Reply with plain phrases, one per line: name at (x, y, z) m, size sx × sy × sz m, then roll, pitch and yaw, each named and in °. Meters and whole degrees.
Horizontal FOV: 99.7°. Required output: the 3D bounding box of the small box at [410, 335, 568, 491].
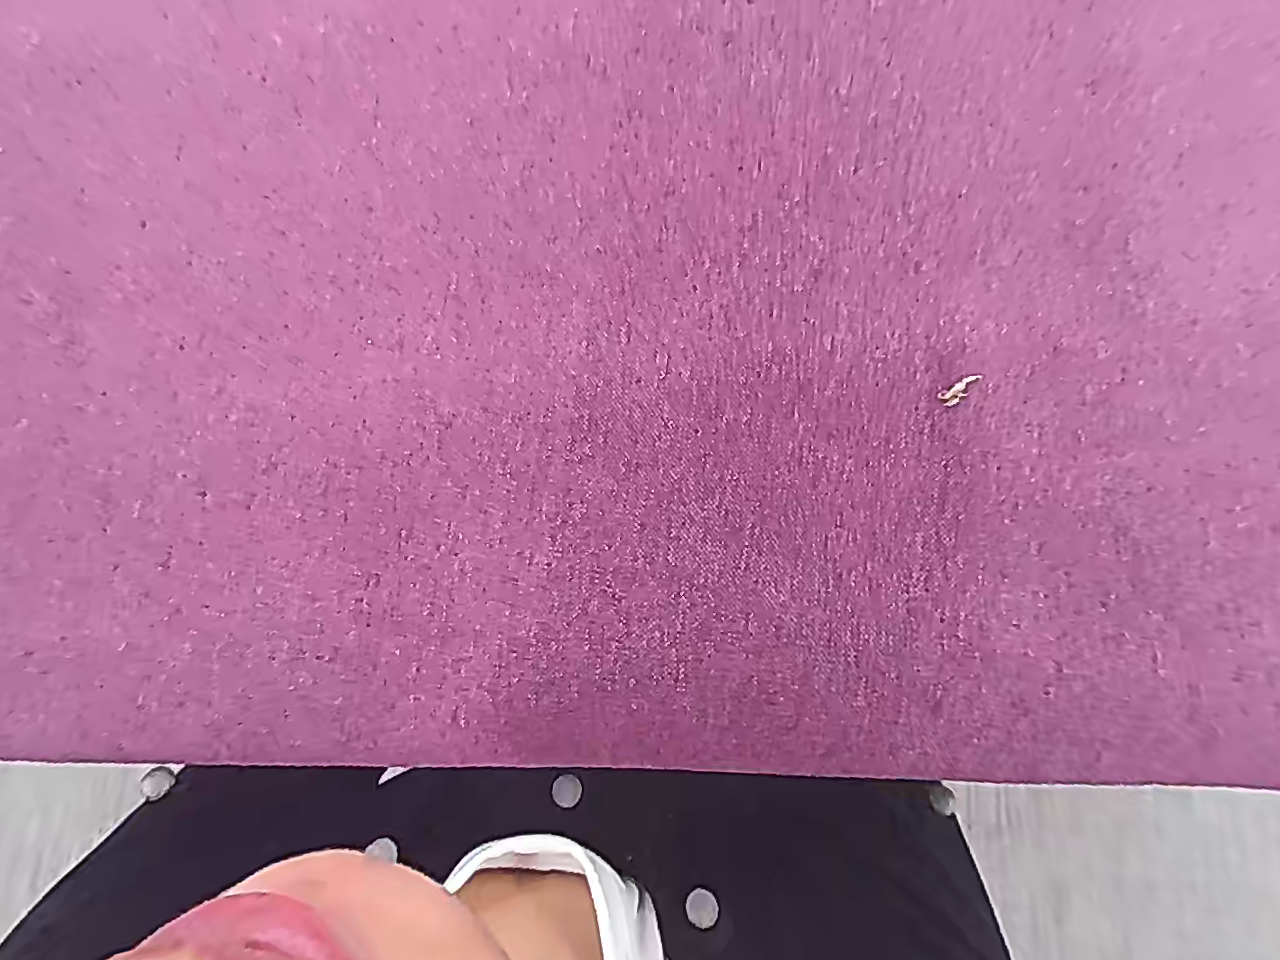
small box at (-0.192, -0.080, 0.730) m, size 0.168 × 0.176 × 0.179 m, roll -1°, pitch 84°, yaw 1°
